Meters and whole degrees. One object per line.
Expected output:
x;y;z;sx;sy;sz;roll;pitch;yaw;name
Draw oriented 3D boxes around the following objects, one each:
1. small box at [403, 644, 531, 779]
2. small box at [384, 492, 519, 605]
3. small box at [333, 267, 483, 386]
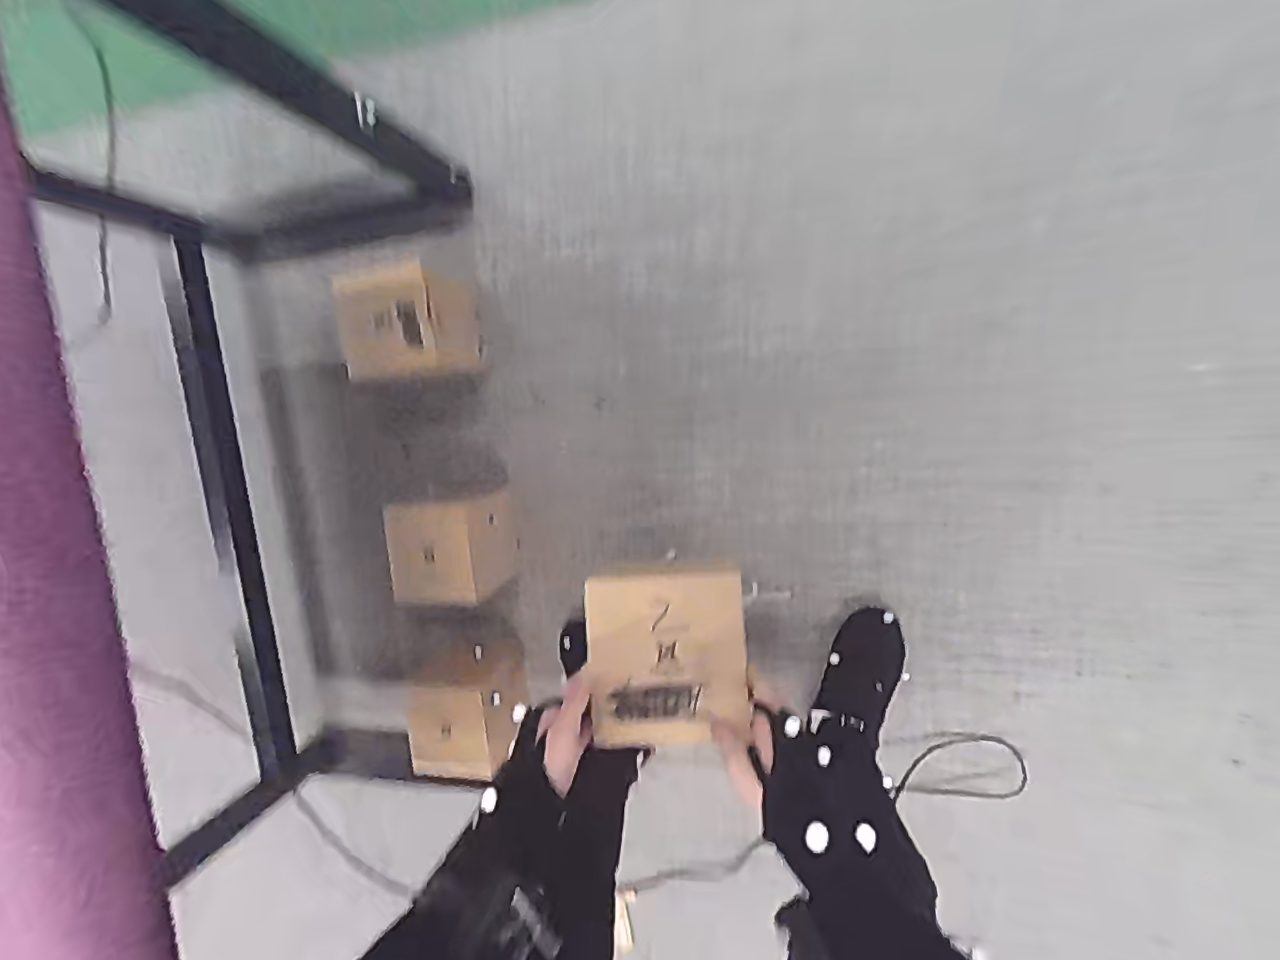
-0.324;0.440;1.047;0.168;0.176;0.179;-3;97;15;small box
-0.339;0.117;1.000;0.168;0.176;0.179;-2;99;15;small box
-0.394;-0.260;0.954;0.179;0.176;0.168;-6;97;16;small box
